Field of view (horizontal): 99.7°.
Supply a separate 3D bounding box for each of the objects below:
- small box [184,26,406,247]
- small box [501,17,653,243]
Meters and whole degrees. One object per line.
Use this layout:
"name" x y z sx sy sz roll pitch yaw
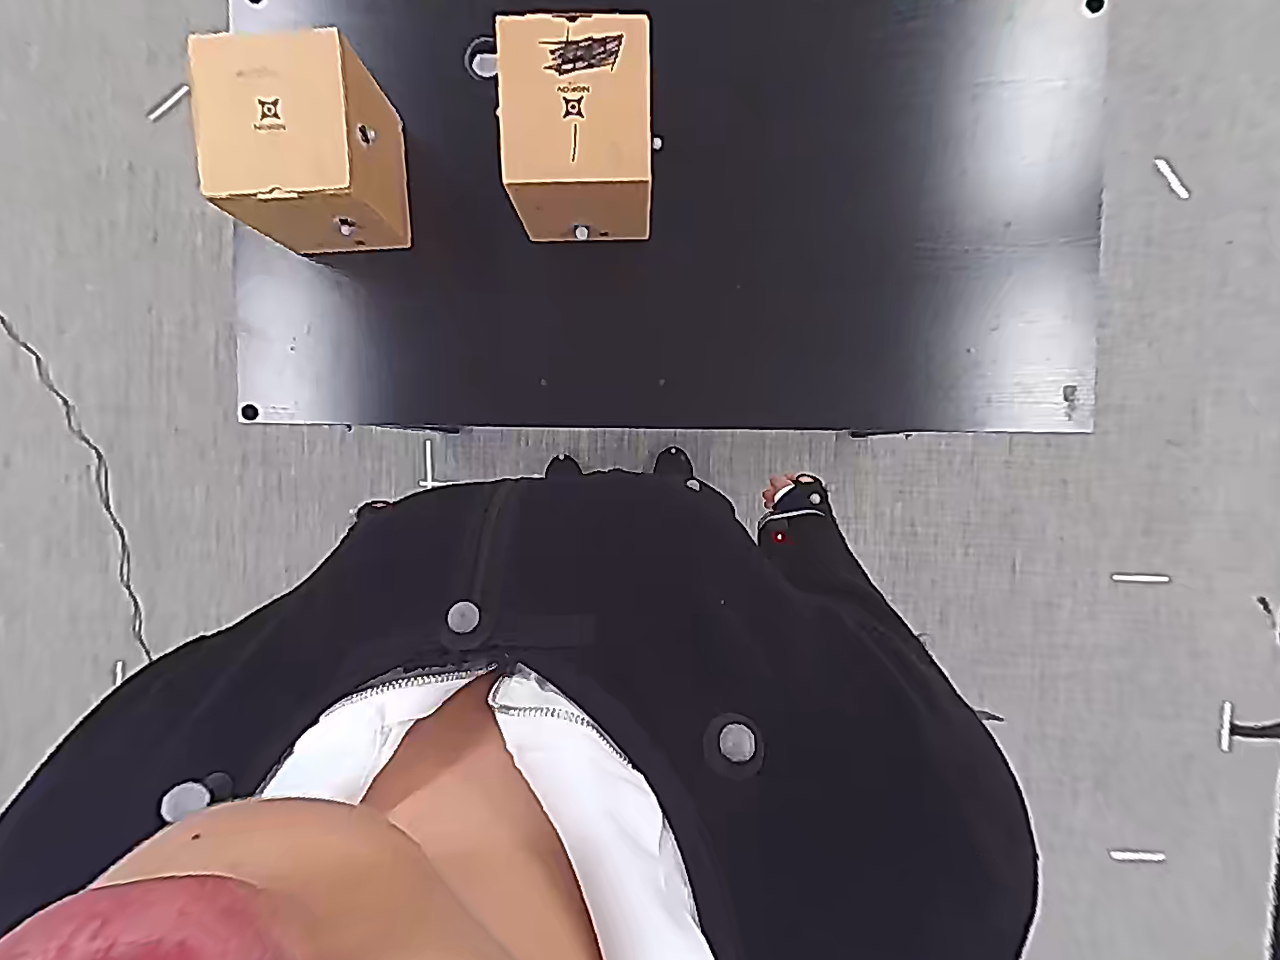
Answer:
"small box" -0.401 -0.399 0.661 0.168 0.176 0.179 -3 92 -2
"small box" -0.069 -0.412 0.662 0.168 0.176 0.179 -1 93 0
